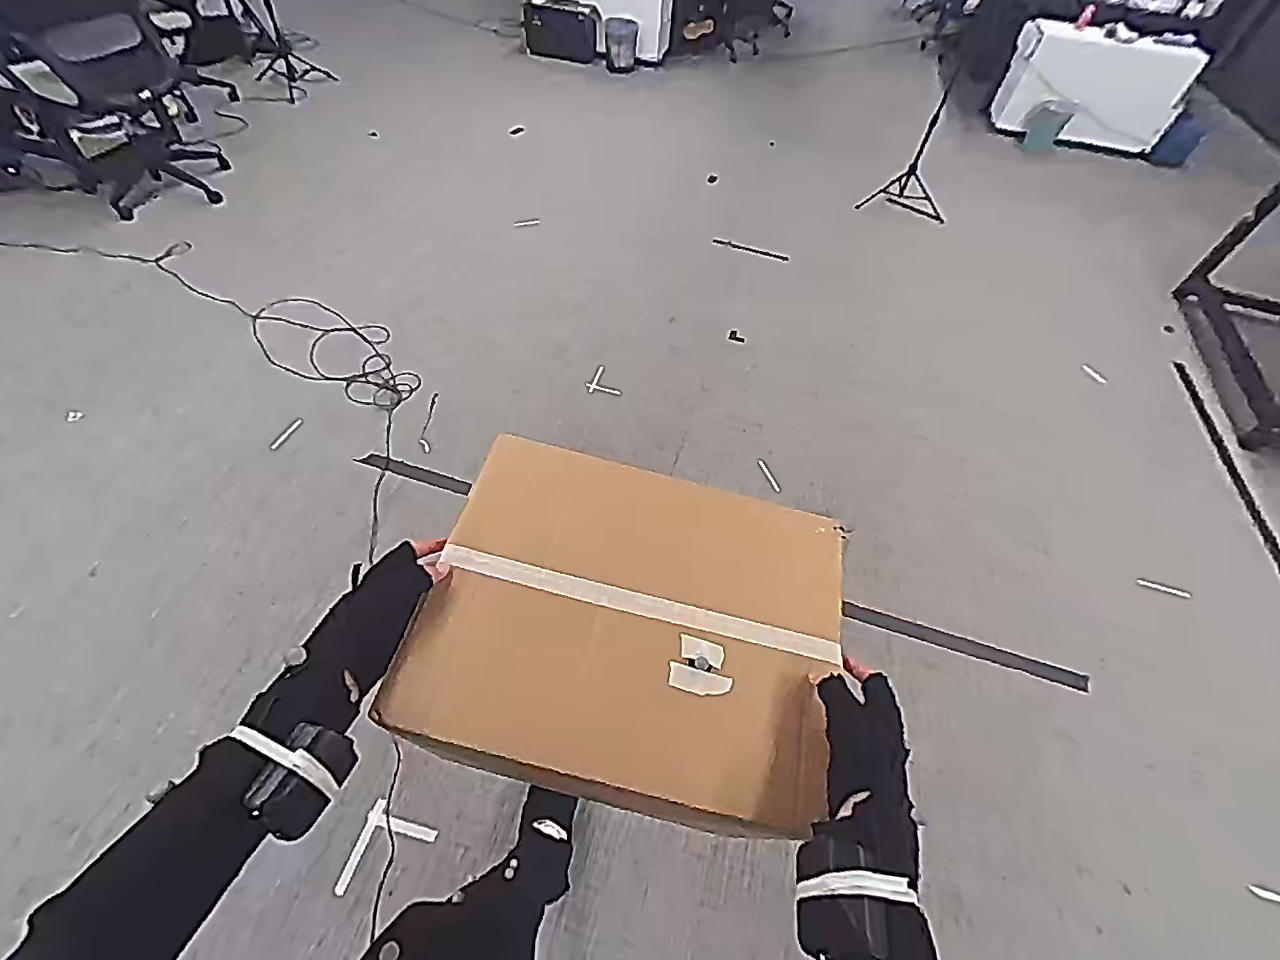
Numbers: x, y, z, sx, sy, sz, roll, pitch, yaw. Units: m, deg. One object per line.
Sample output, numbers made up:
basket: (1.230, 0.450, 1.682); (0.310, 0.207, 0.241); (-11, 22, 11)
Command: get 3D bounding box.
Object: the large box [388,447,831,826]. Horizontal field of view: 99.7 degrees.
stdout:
large box: (-0.021, 0.209, 0.674); (0.408, 0.320, 0.320); (15, 57, 0)
